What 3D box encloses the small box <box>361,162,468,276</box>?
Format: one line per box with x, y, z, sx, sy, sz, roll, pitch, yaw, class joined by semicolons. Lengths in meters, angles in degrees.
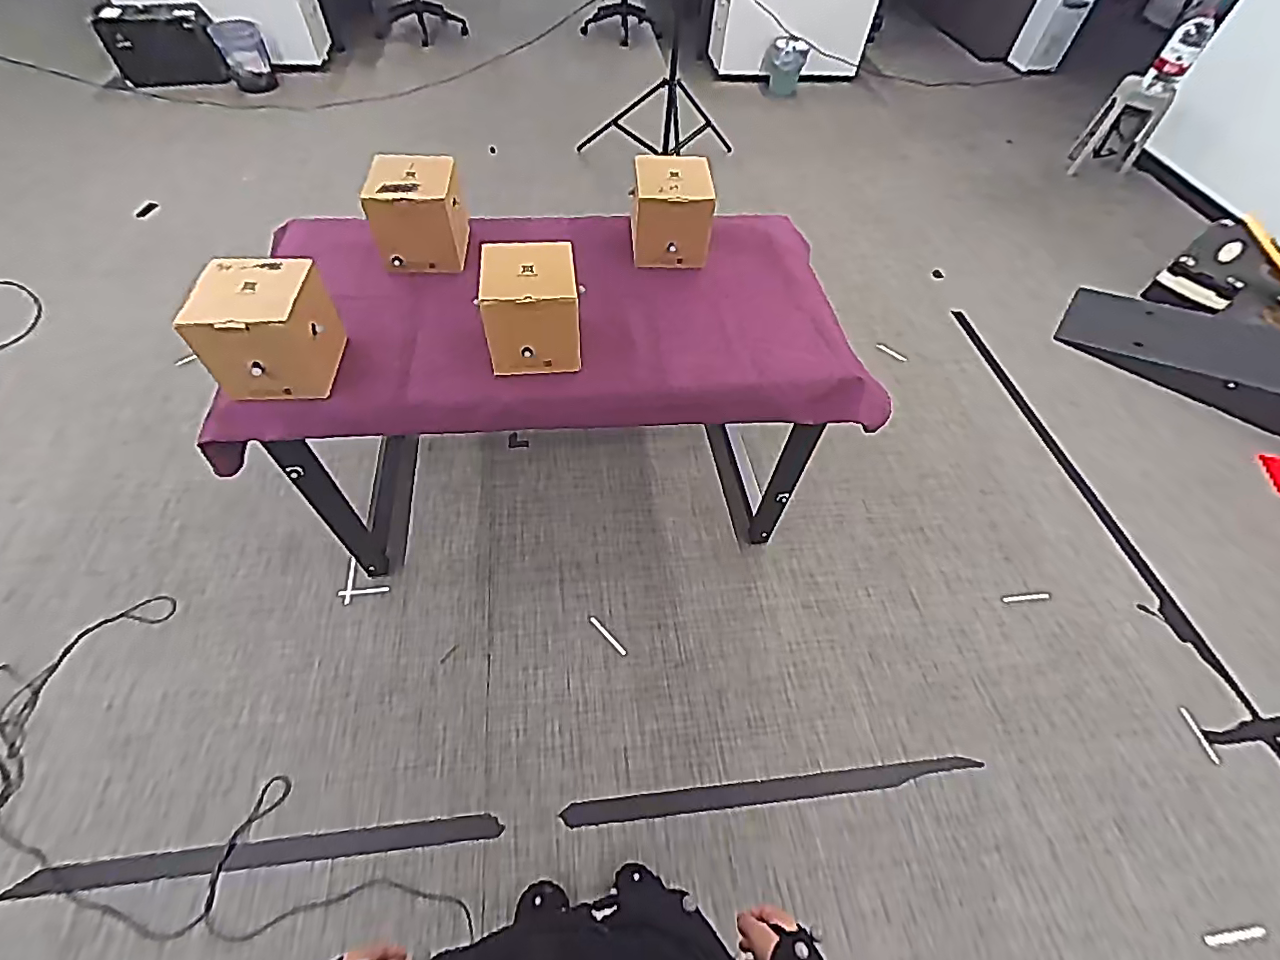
-0.480;-0.566;1.182;0.168;0.176;0.179;-2;56;-6;small box

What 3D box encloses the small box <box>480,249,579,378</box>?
-0.205;-0.315;1.028;0.168;0.176;0.179;-5;54;-8;small box

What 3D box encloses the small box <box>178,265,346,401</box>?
-0.642;-0.252;0.948;0.168;0.176;0.179;-3;55;-7;small box

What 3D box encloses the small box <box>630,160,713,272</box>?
0.065;-0.606;1.246;0.168;0.176;0.179;-2;57;-4;small box
